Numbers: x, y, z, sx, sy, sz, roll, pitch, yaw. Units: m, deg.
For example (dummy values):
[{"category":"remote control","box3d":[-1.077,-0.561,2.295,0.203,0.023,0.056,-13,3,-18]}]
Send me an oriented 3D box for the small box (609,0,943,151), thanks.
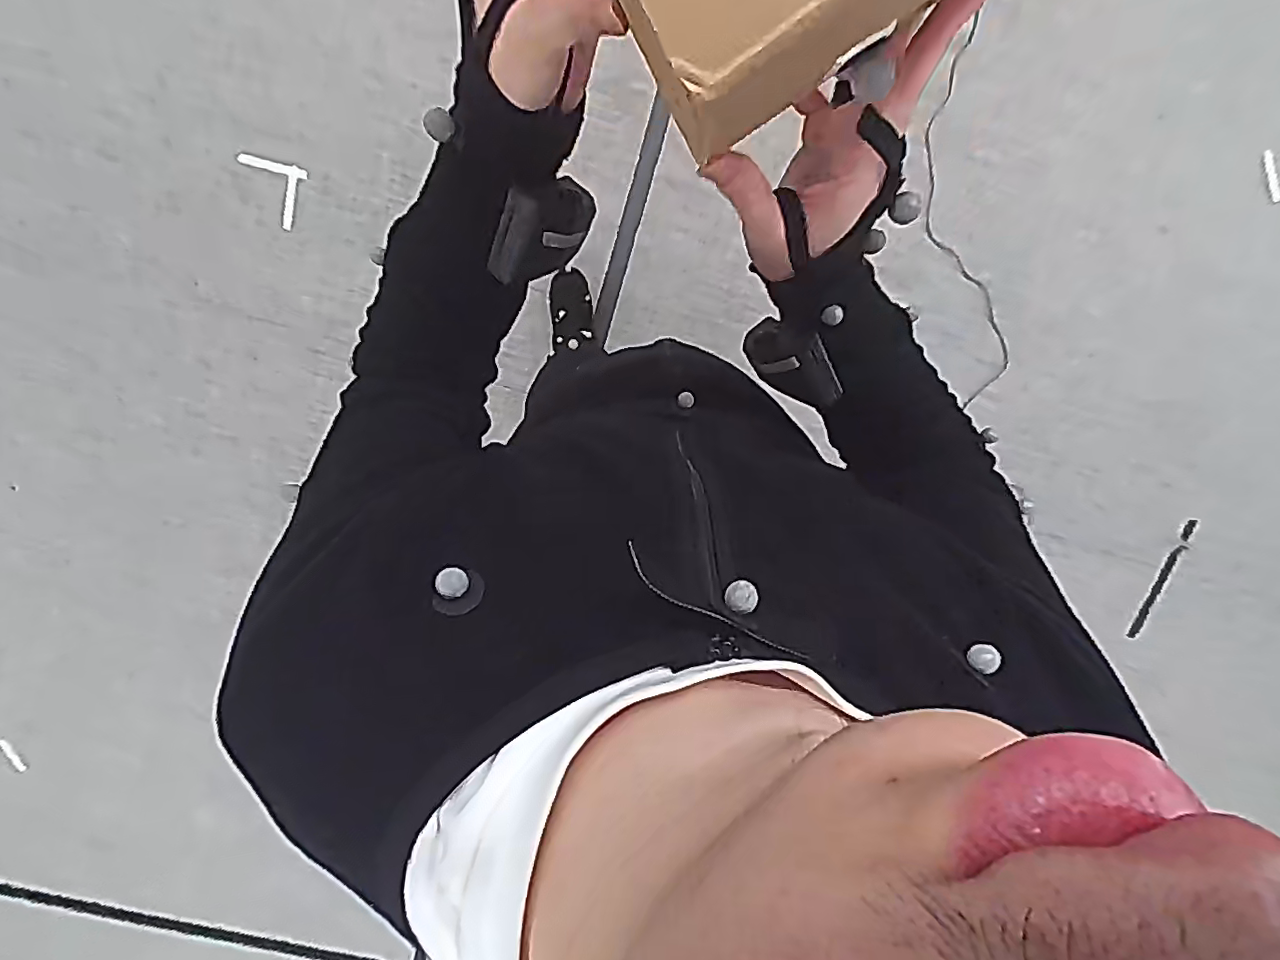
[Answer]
[{"category":"small box","box3d":[0.043,-0.225,0.146,0.168,0.176,0.179,-28,109,19]}]
